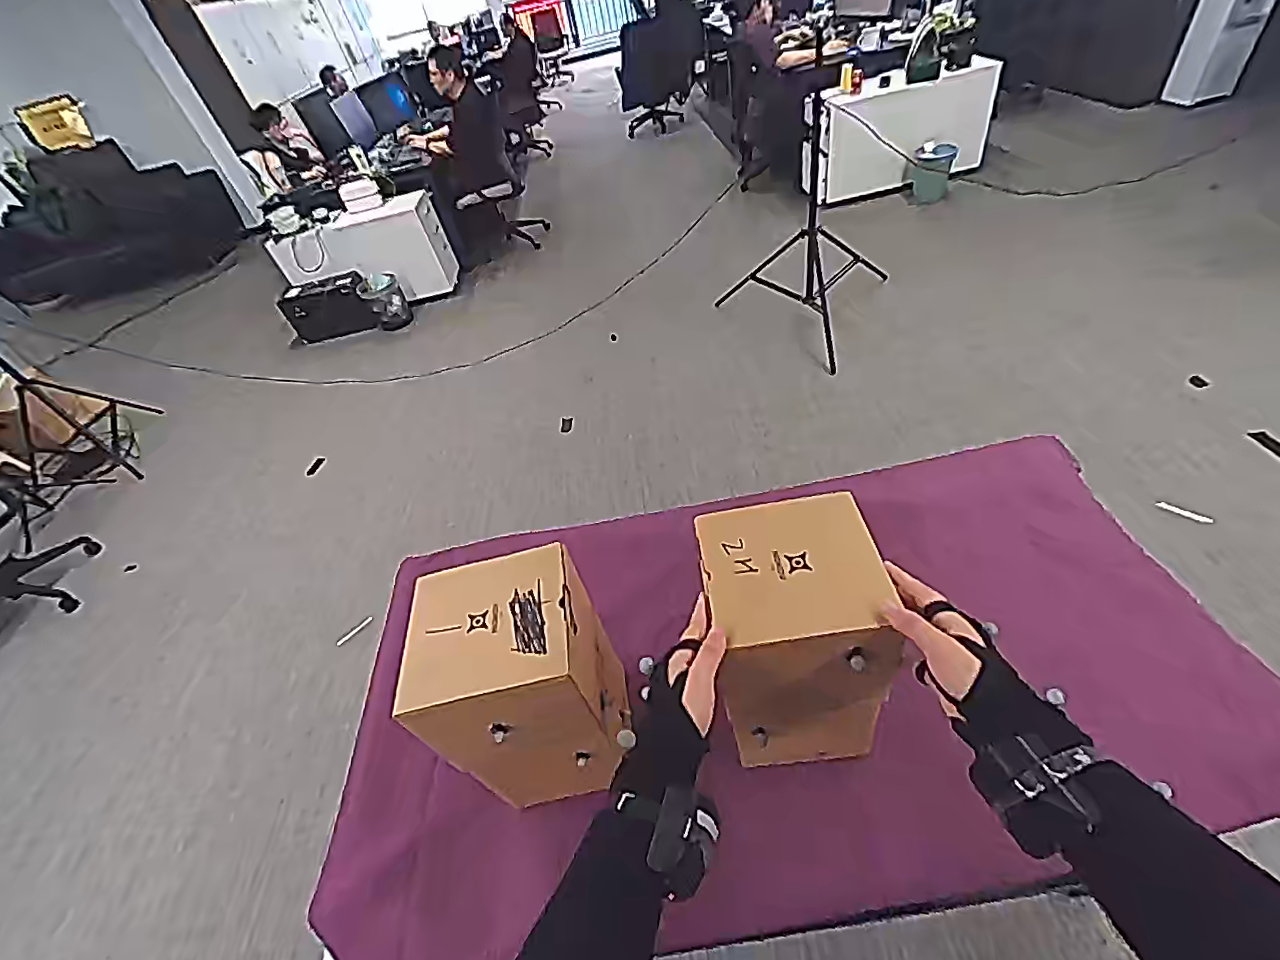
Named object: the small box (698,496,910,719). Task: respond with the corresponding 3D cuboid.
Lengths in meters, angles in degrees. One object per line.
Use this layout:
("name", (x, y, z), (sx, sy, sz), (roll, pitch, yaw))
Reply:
("small box", (0.166, 0.144, 0.597), (0.179, 0.176, 0.168), (-10, 43, 6))

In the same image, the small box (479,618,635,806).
("small box", (-0.115, 0.319, 0.738), (0.179, 0.176, 0.168), (-13, 44, 1))

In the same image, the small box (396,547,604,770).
("small box", (-0.143, 0.207, 0.621), (0.179, 0.176, 0.168), (-14, 43, 1))
